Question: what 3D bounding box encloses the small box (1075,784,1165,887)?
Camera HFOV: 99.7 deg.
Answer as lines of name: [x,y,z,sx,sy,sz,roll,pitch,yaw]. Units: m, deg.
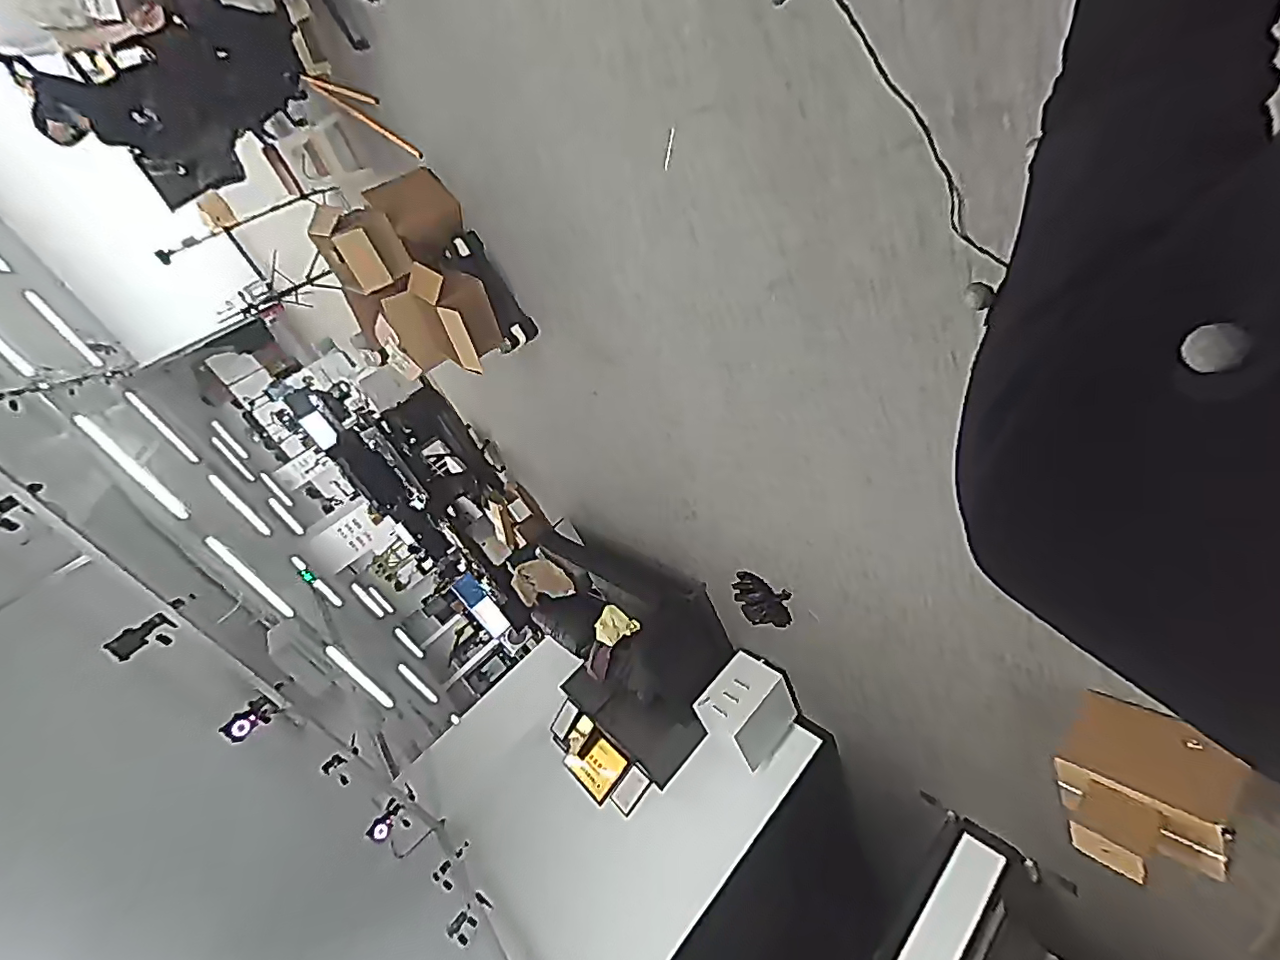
small box: [1.490,1.094,1.677,0.179,0.176,0.168,15,137,54]
